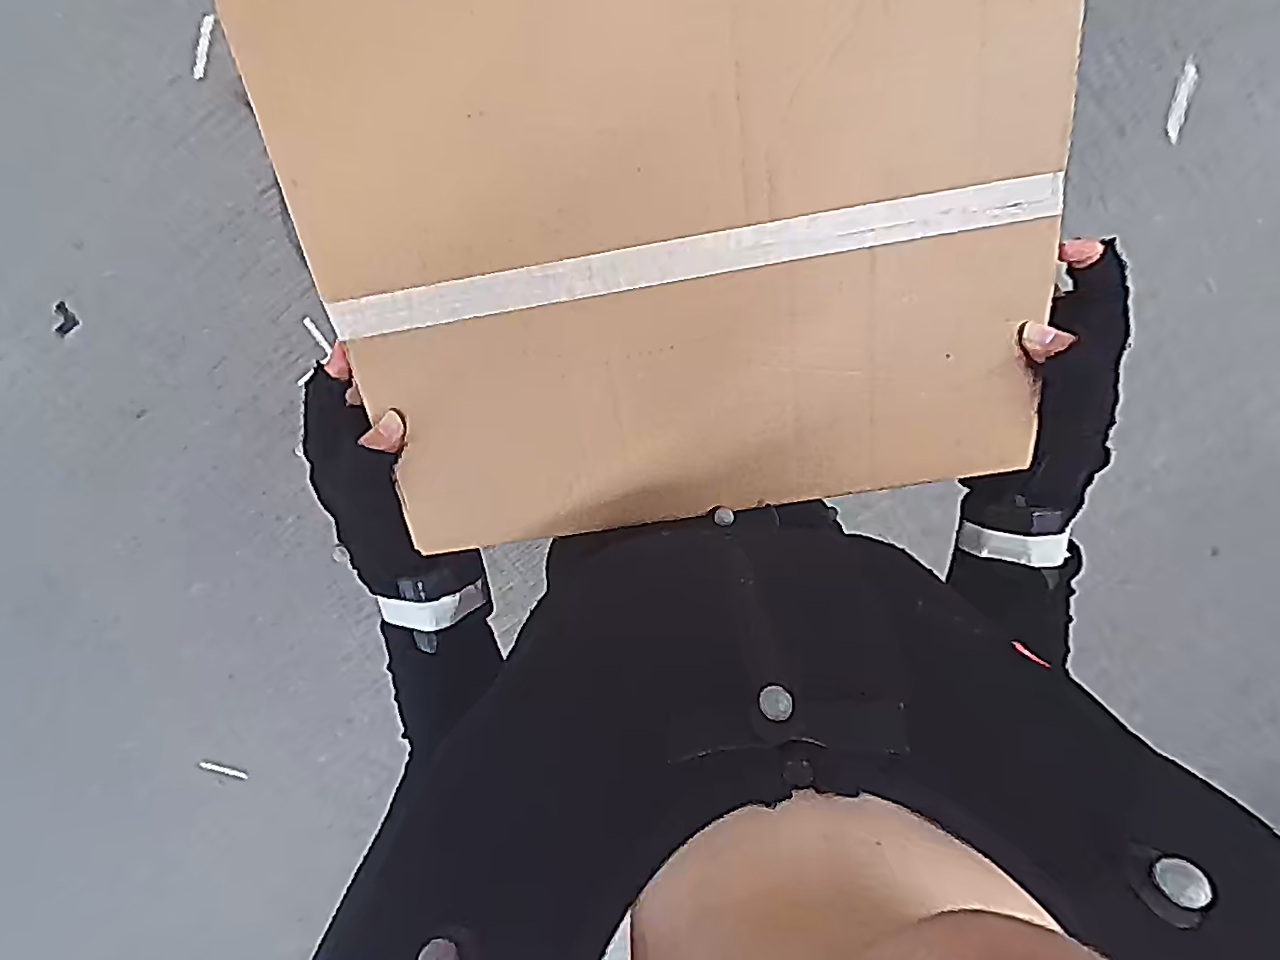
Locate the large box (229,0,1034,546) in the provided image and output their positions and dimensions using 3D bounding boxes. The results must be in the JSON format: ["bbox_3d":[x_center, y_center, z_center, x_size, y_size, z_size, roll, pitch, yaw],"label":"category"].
[{"bbox_3d":[0.012,-0.182,0.448,0.408,0.320,0.320,-10,112,4],"label":"large box"}]
